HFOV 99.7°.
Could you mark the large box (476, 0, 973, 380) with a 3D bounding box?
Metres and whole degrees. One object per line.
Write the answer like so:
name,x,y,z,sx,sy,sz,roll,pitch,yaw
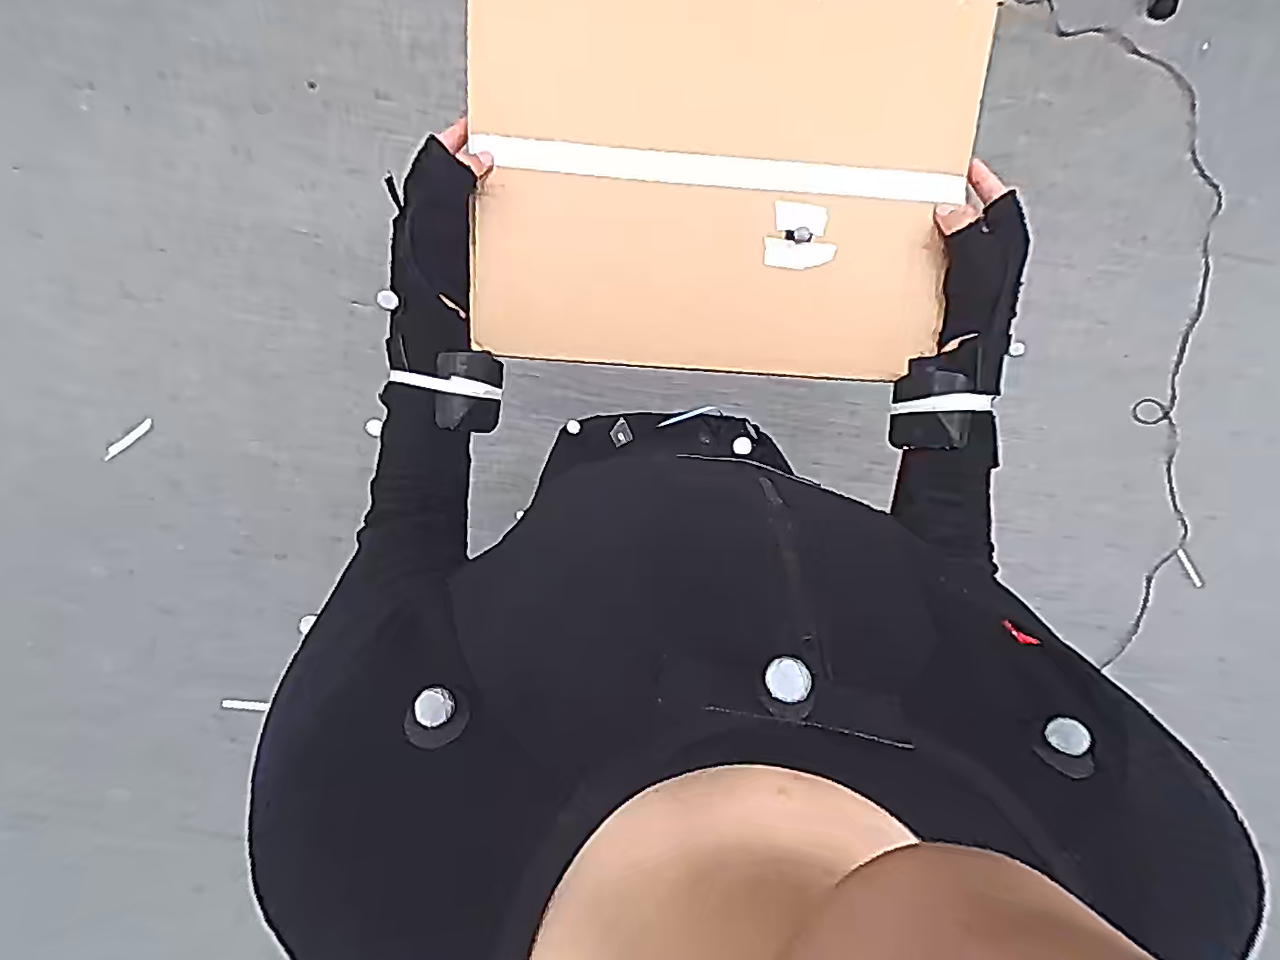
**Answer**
large box,0.054,-0.282,0.598,0.408,0.320,0.320,3,104,-5
